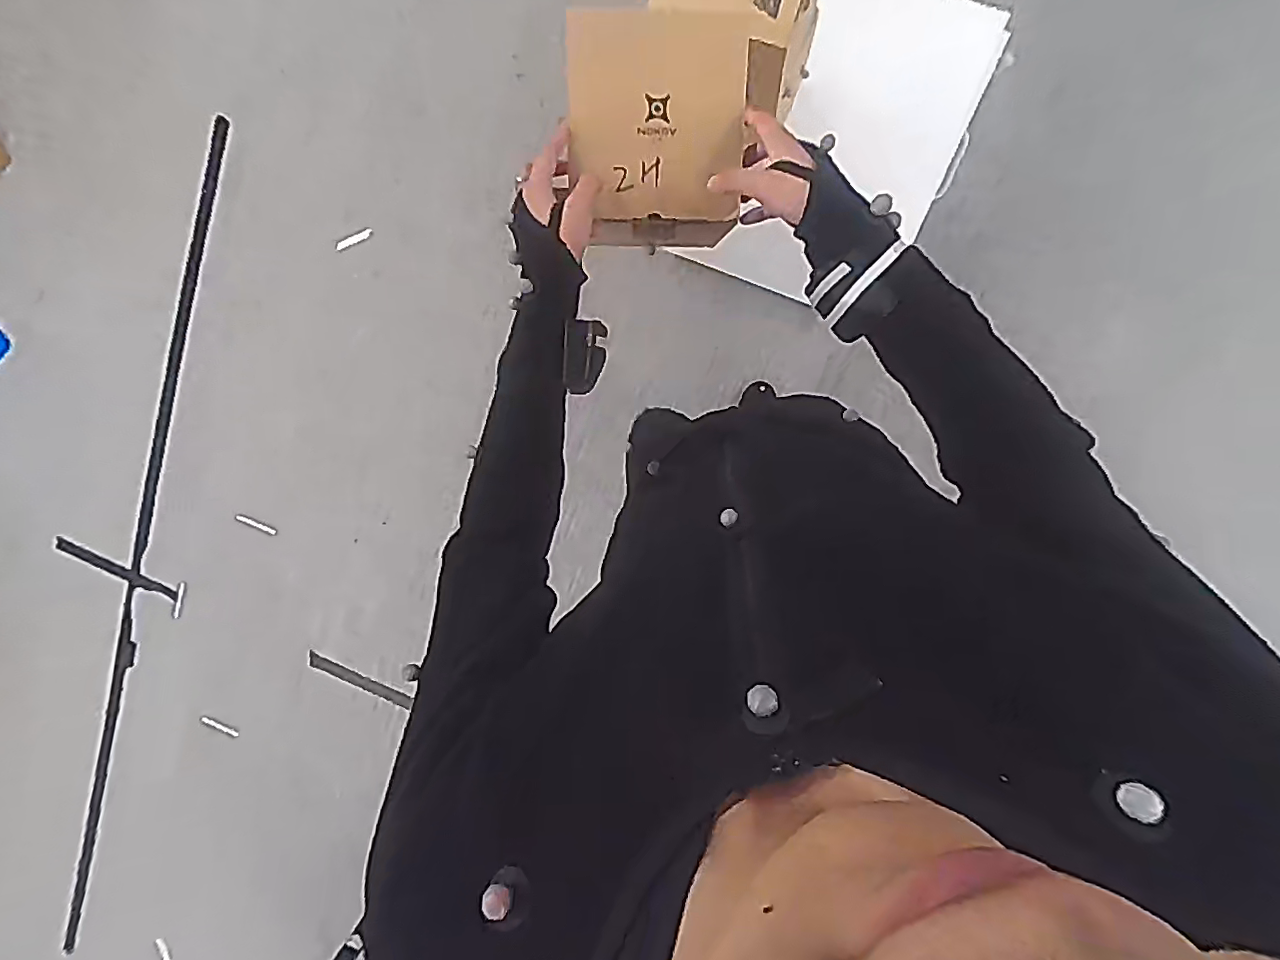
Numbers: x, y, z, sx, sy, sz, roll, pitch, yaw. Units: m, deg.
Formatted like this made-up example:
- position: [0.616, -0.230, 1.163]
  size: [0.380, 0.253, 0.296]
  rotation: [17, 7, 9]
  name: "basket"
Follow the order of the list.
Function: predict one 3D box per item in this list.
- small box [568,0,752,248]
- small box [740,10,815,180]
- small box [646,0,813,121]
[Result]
- position: [0.013, -0.354, 0.570]
  size: [0.168, 0.176, 0.179]
  rotation: [1, 106, -1]
  name: "small box"
- position: [0.150, -0.619, 0.854]
  size: [0.168, 0.176, 0.179]
  rotation: [23, 100, 5]
  name: "small box"
- position: [0.121, -0.601, 0.694]
  size: [0.179, 0.176, 0.168]
  rotation: [20, 98, 7]
  name: "small box"
